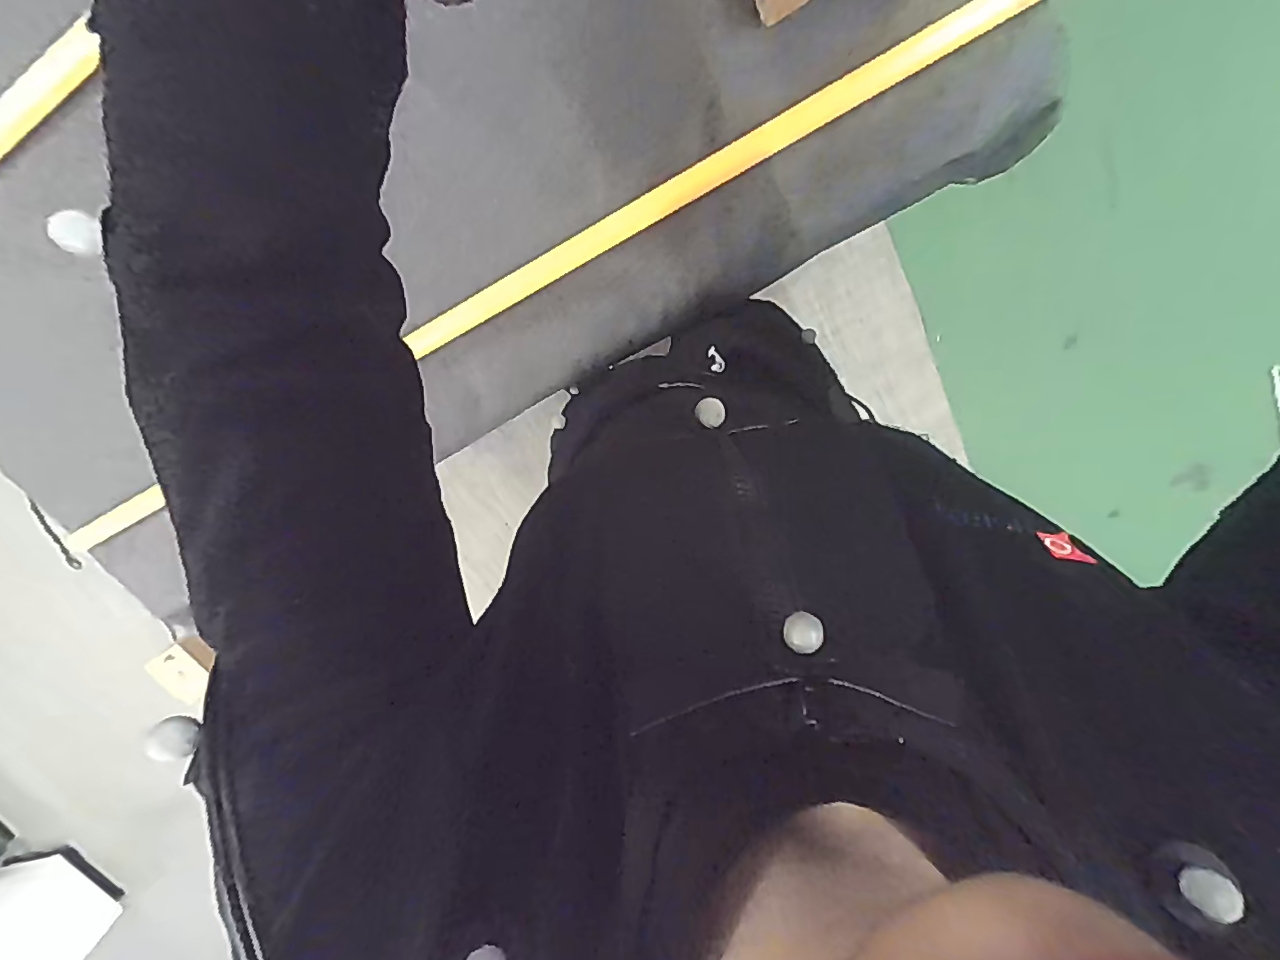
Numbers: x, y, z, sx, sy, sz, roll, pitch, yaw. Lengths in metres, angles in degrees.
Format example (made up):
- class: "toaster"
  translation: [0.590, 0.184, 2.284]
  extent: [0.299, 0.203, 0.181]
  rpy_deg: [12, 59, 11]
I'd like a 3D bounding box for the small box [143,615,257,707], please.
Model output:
- class: "small box"
  translation: [-1.339, 0.551, 1.660]
  extent: [0.168, 0.176, 0.179]
  rpy_deg: [-30, 108, 15]
